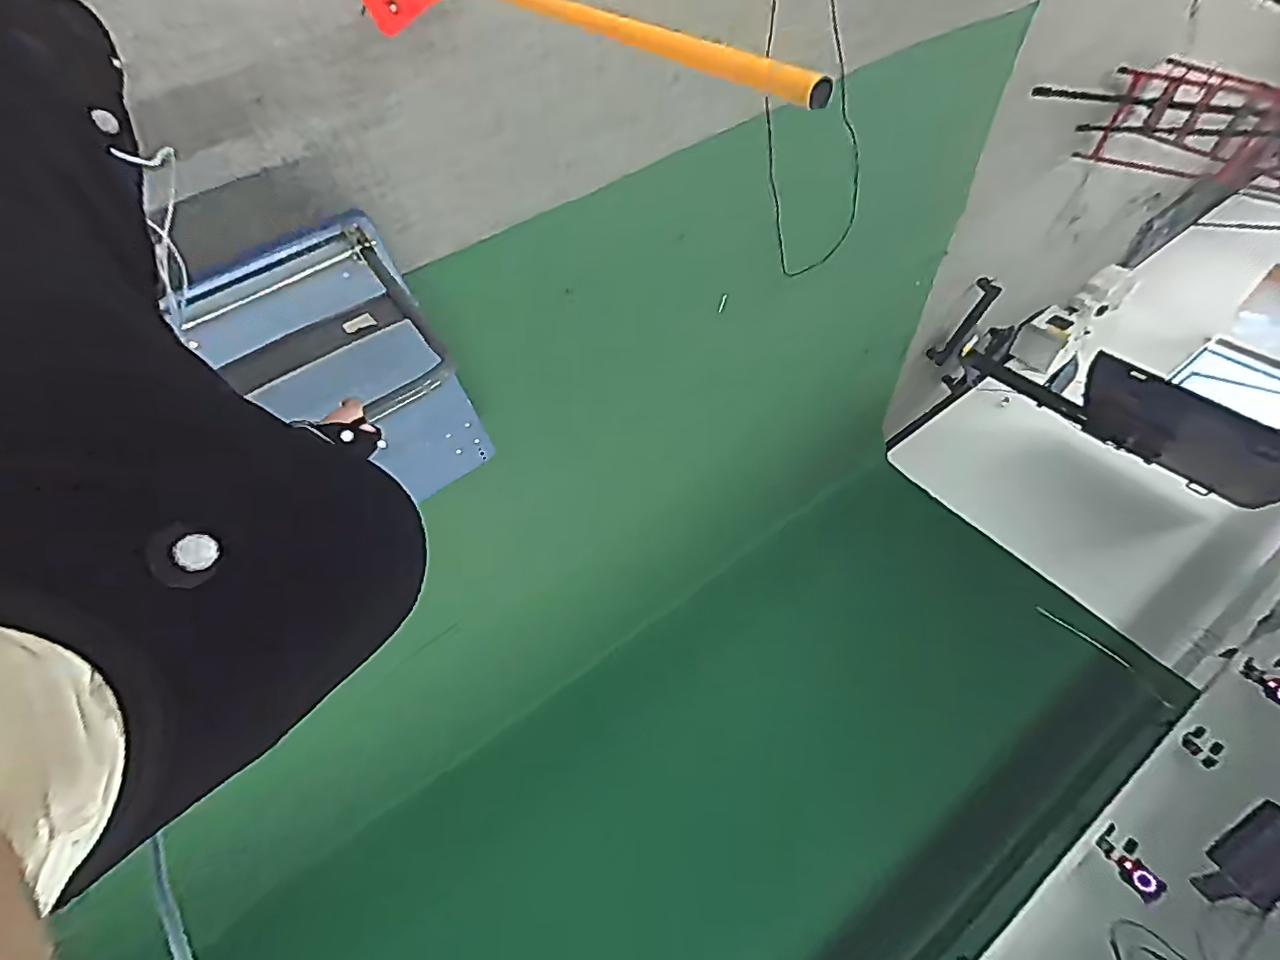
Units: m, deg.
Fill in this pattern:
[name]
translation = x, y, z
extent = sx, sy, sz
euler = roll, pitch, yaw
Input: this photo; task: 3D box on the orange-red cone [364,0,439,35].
[orange-red cone]
translation = -0.405, -0.959, 1.008
extent = 0.199, 0.360, 0.198
euler = -42, 148, -4
